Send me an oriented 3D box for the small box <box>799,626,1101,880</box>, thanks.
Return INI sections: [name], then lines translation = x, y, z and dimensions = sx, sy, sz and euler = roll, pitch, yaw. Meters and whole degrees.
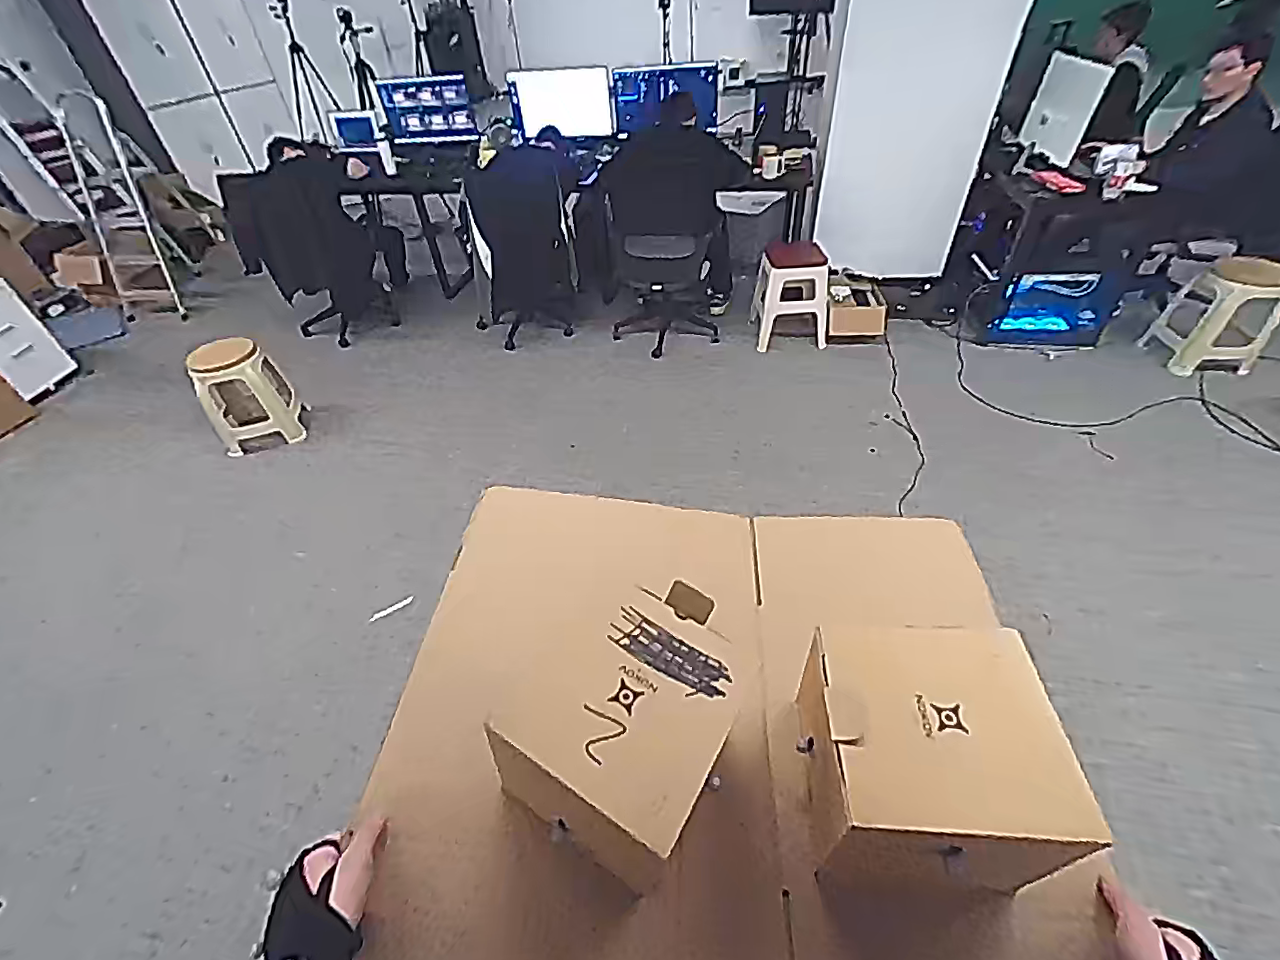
[small box]
translation = 0.256, 0.254, 0.503
dimensions = 0.179, 0.176, 0.168
euler = -1, 44, 7
